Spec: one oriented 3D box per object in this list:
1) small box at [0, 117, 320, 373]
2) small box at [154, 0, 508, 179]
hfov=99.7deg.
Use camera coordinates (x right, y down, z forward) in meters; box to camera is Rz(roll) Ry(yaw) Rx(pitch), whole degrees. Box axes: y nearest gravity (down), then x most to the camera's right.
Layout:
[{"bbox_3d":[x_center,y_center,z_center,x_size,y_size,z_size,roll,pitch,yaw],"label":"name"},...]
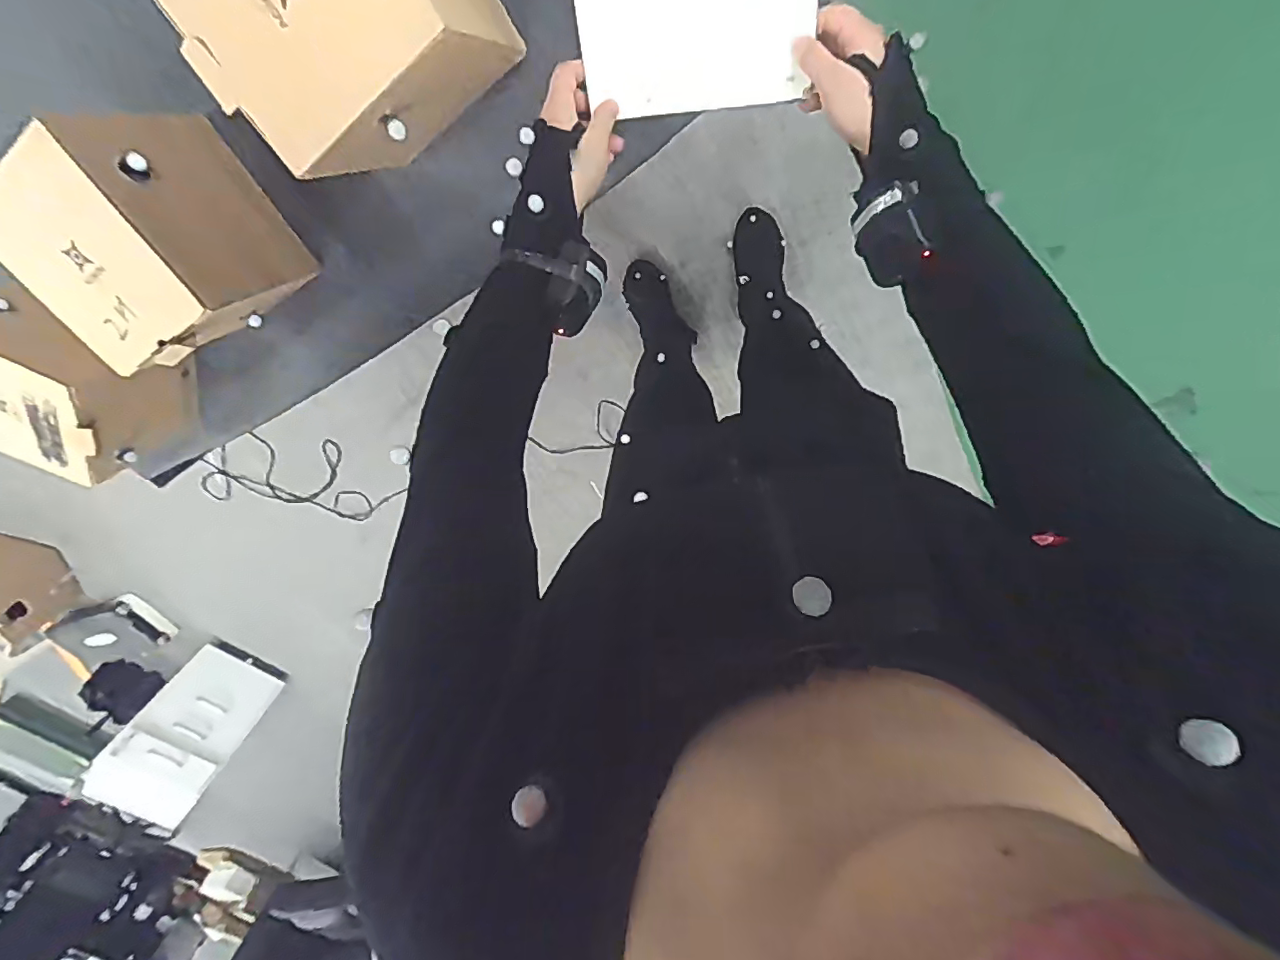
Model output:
[{"bbox_3d":[-0.496,-0.248,0.571,0.168,0.176,0.179,-19,119,24],"label":"small box"},{"bbox_3d":[-0.227,-0.375,0.426,0.179,0.176,0.168,-23,117,26],"label":"small box"}]
